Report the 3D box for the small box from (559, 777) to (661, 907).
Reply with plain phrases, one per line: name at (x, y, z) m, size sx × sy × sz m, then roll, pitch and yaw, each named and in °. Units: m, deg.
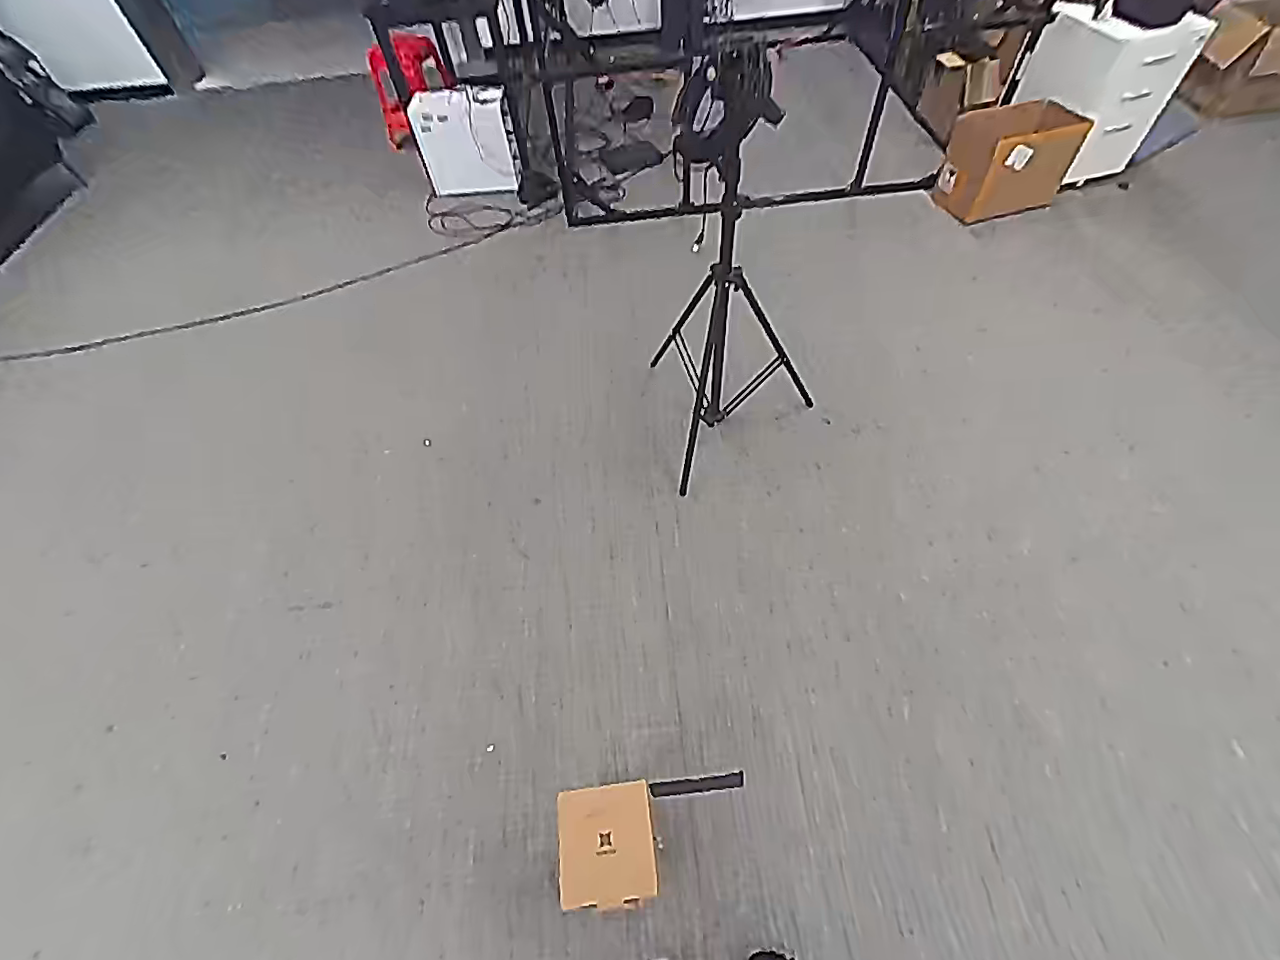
small box at (-0.053, 0.672, 1.010) m, size 0.168 × 0.176 × 0.179 m, roll -7°, pitch 54°, yaw -2°
